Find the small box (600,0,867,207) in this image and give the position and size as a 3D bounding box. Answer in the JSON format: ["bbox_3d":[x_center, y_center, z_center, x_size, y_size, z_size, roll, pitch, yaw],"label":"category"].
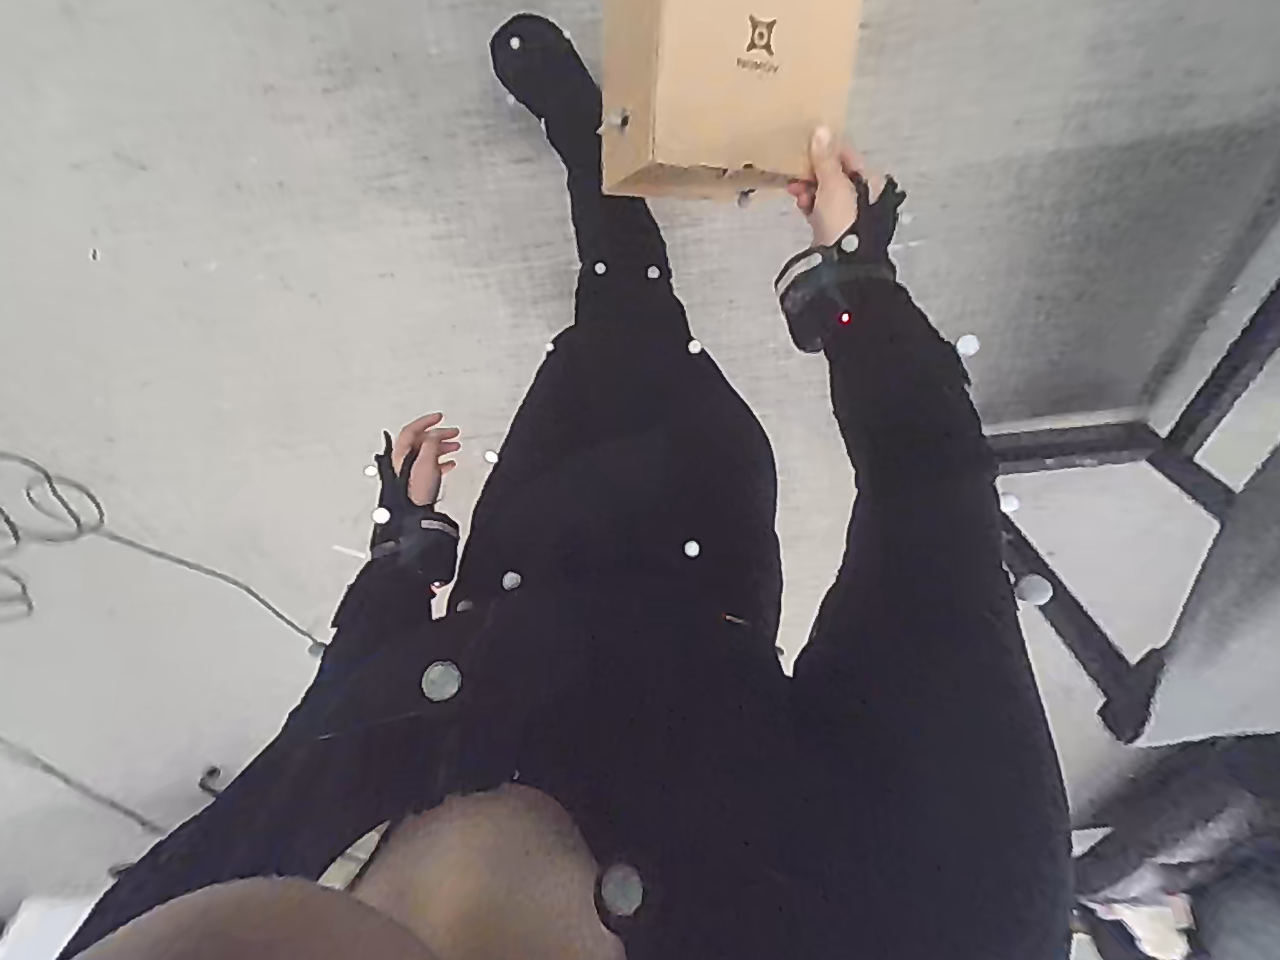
[{"bbox_3d":[0.066,-0.345,0.471,0.168,0.176,0.179,-5,112,-19],"label":"small box"}]
